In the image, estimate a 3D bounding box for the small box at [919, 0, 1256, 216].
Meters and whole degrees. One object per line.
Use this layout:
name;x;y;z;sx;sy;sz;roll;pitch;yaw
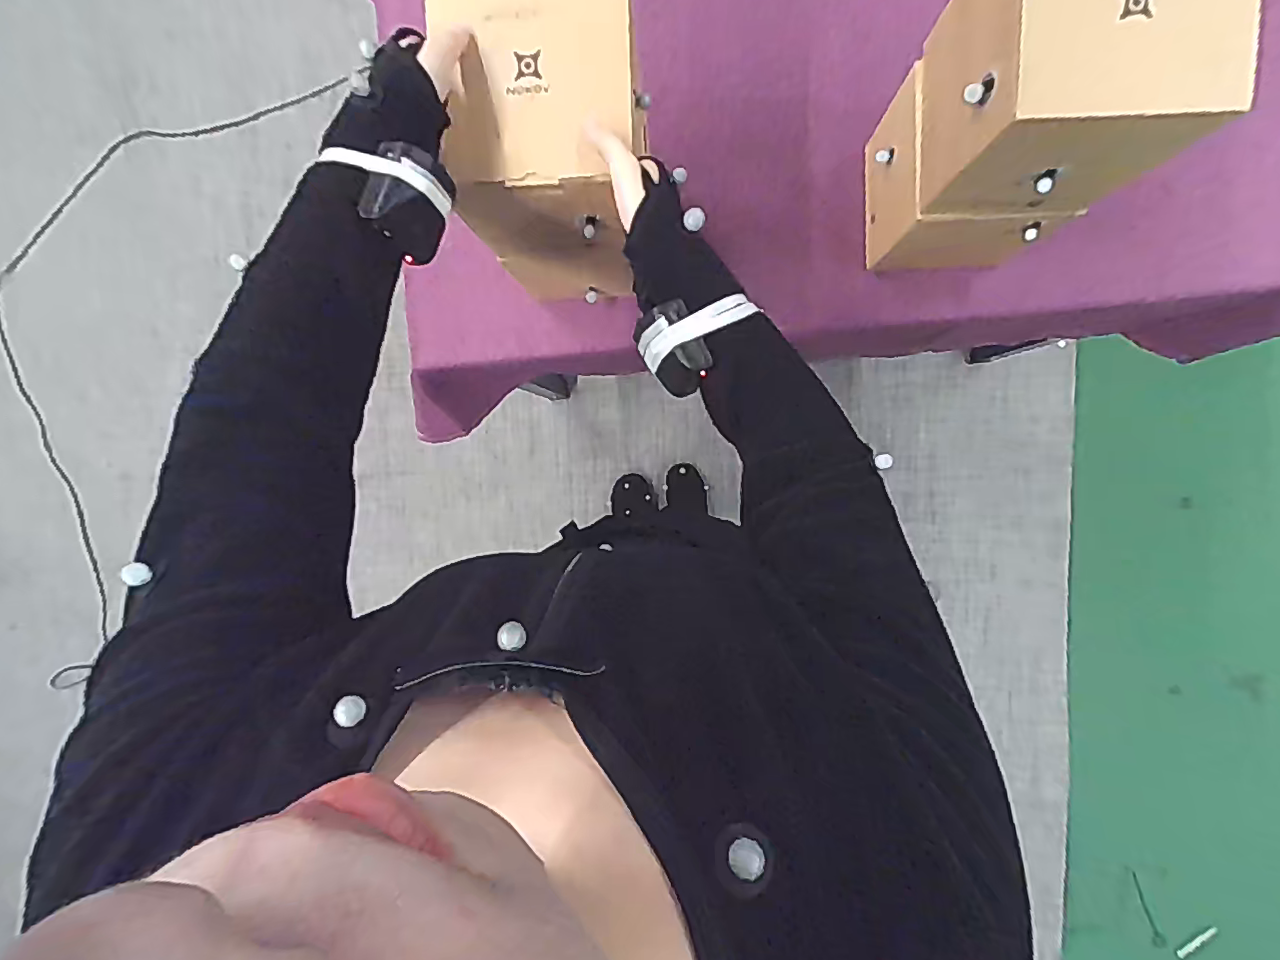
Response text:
small box;0.366;-0.351;0.475;0.168;0.176;0.179;2;93;4

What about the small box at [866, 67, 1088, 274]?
small box;0.380;-0.353;0.639;0.179;0.176;0.168;-1;93;4

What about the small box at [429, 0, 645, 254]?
small box;-0.083;-0.327;0.514;0.168;0.176;0.179;0;93;4

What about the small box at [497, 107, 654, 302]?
small box;-0.071;-0.330;0.677;0.179;0.176;0.168;-2;92;4
